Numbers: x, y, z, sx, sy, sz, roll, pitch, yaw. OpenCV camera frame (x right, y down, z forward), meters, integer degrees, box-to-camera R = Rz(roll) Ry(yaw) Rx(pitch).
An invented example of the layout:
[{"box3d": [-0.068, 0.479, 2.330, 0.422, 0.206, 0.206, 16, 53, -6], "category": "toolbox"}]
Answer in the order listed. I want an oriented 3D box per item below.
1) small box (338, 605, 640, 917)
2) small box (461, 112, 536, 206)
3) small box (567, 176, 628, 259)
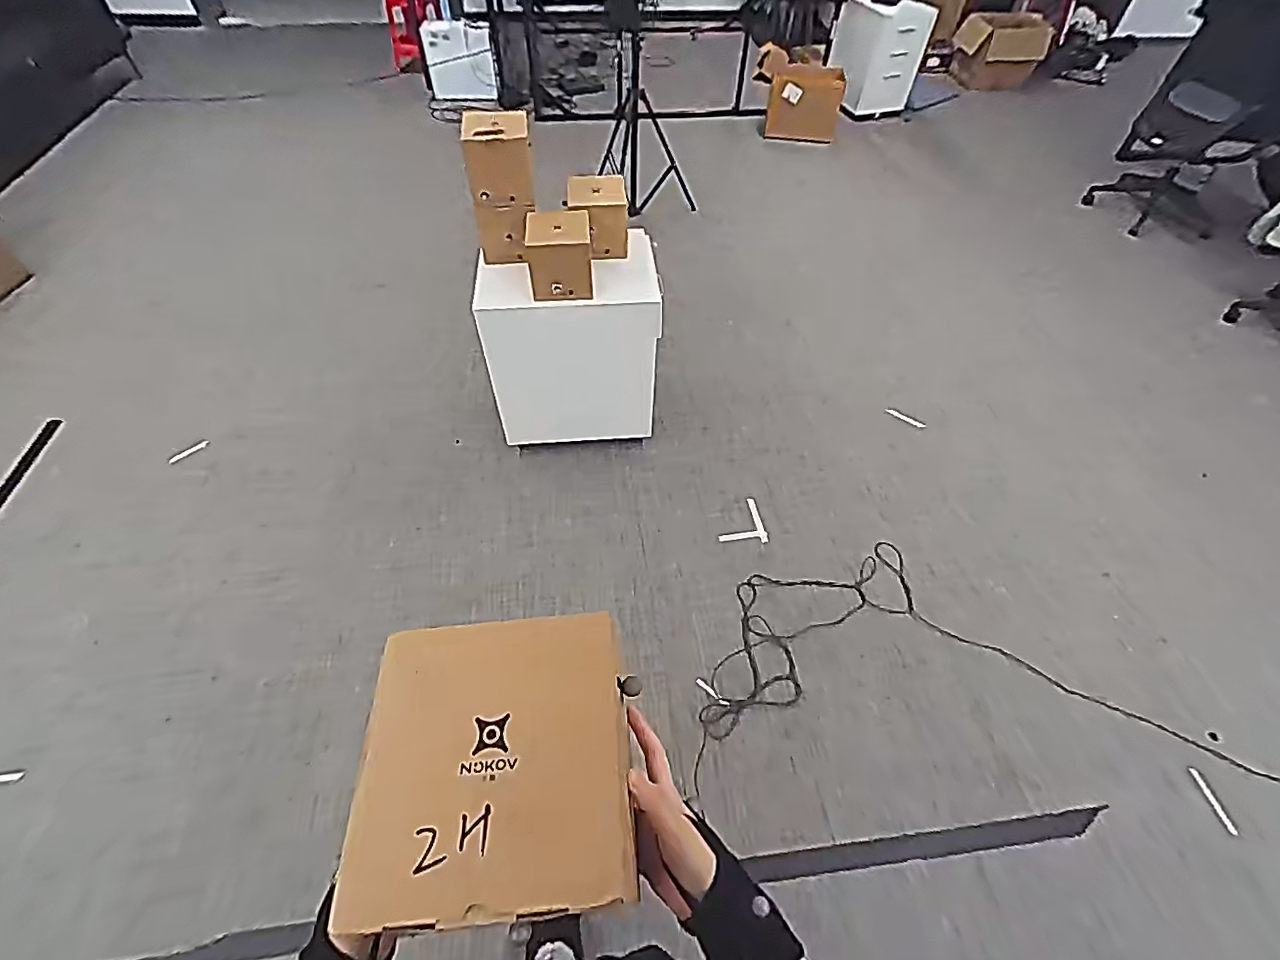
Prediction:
[{"box3d": [-0.091, 0.217, 0.417, 0.168, 0.176, 0.179, -6, 53, 0], "category": "small box"}, {"box3d": [-0.374, -0.854, 1.449, 0.168, 0.176, 0.179, -6, 53, -7], "category": "small box"}, {"box3d": [-0.125, -0.773, 1.602, 0.168, 0.176, 0.179, -4, 53, -3], "category": "small box"}]
